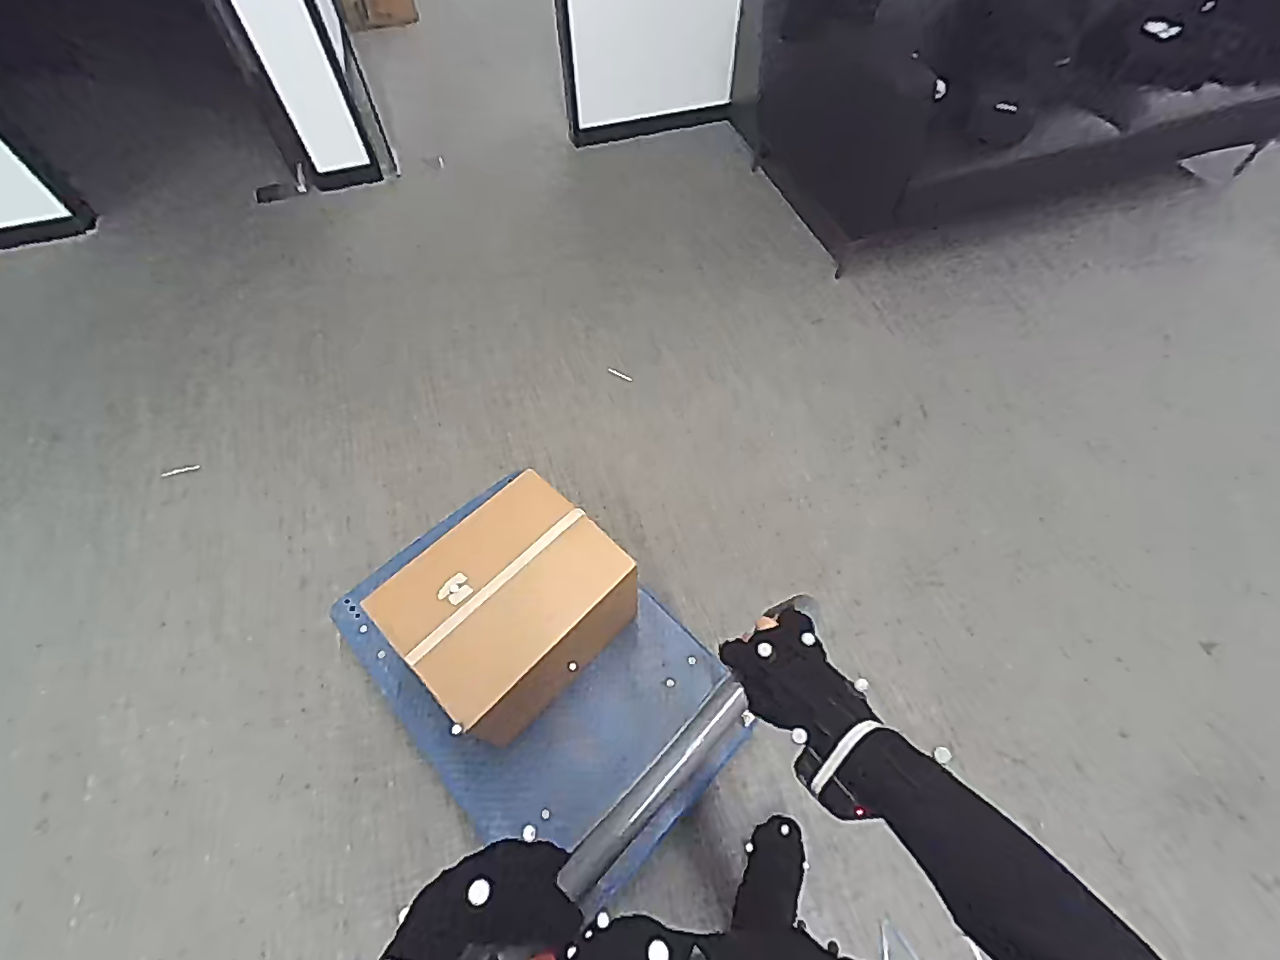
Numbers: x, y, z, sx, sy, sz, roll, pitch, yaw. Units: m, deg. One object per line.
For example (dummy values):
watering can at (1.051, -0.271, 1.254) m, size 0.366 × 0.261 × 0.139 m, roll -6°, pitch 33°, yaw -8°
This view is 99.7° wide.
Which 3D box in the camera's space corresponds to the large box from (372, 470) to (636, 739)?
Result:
large box at (-0.249, 0.265, 1.137) m, size 0.320 × 0.320 × 0.408 m, roll 38°, pitch 67°, yaw 20°
